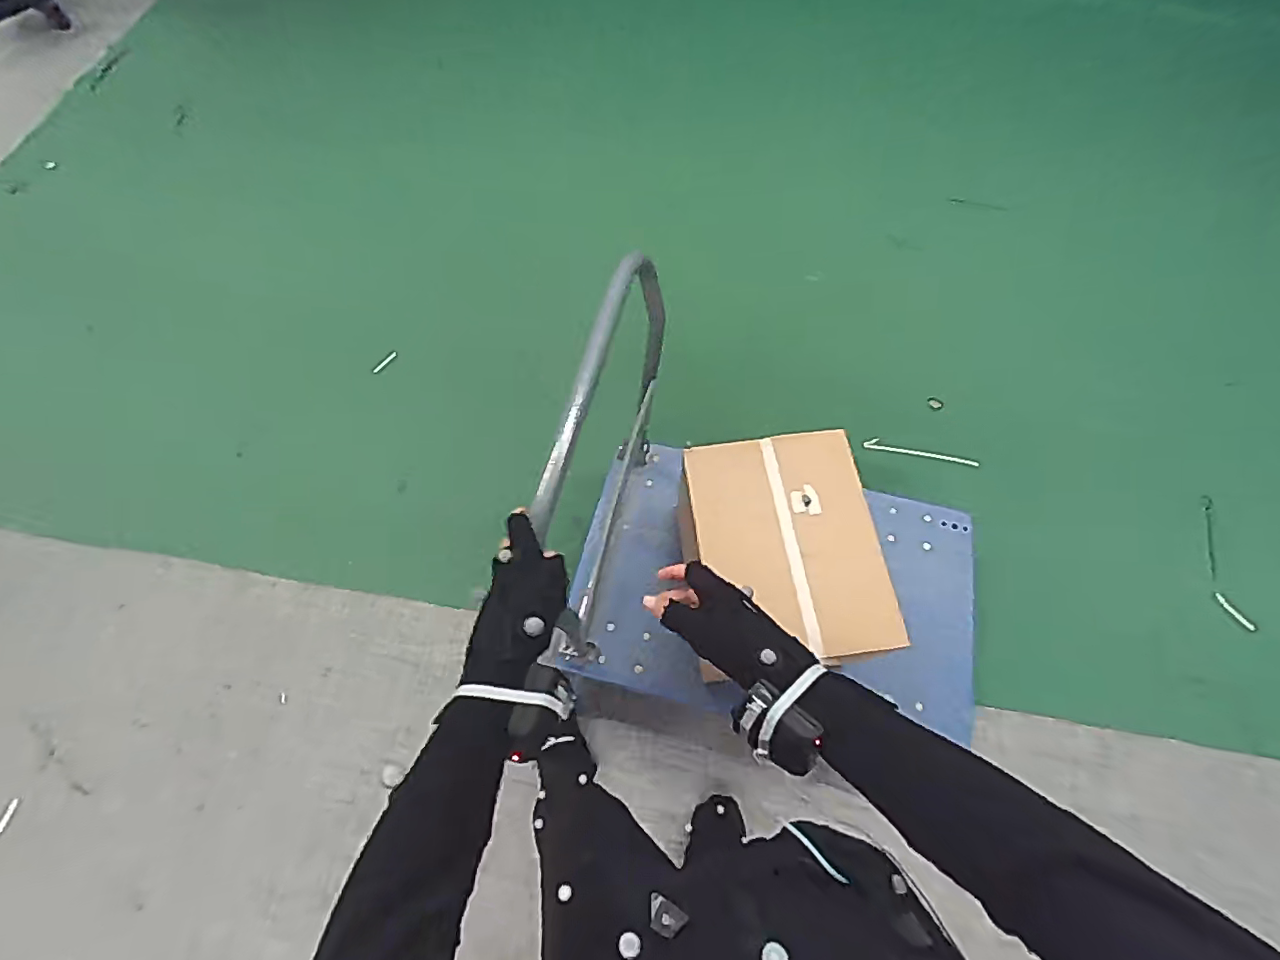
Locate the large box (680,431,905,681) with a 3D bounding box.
[{"bbox_3d":[0.262,0.165,1.084,0.320,0.320,0.408,-6,66,-2],"label":"large box"}]
